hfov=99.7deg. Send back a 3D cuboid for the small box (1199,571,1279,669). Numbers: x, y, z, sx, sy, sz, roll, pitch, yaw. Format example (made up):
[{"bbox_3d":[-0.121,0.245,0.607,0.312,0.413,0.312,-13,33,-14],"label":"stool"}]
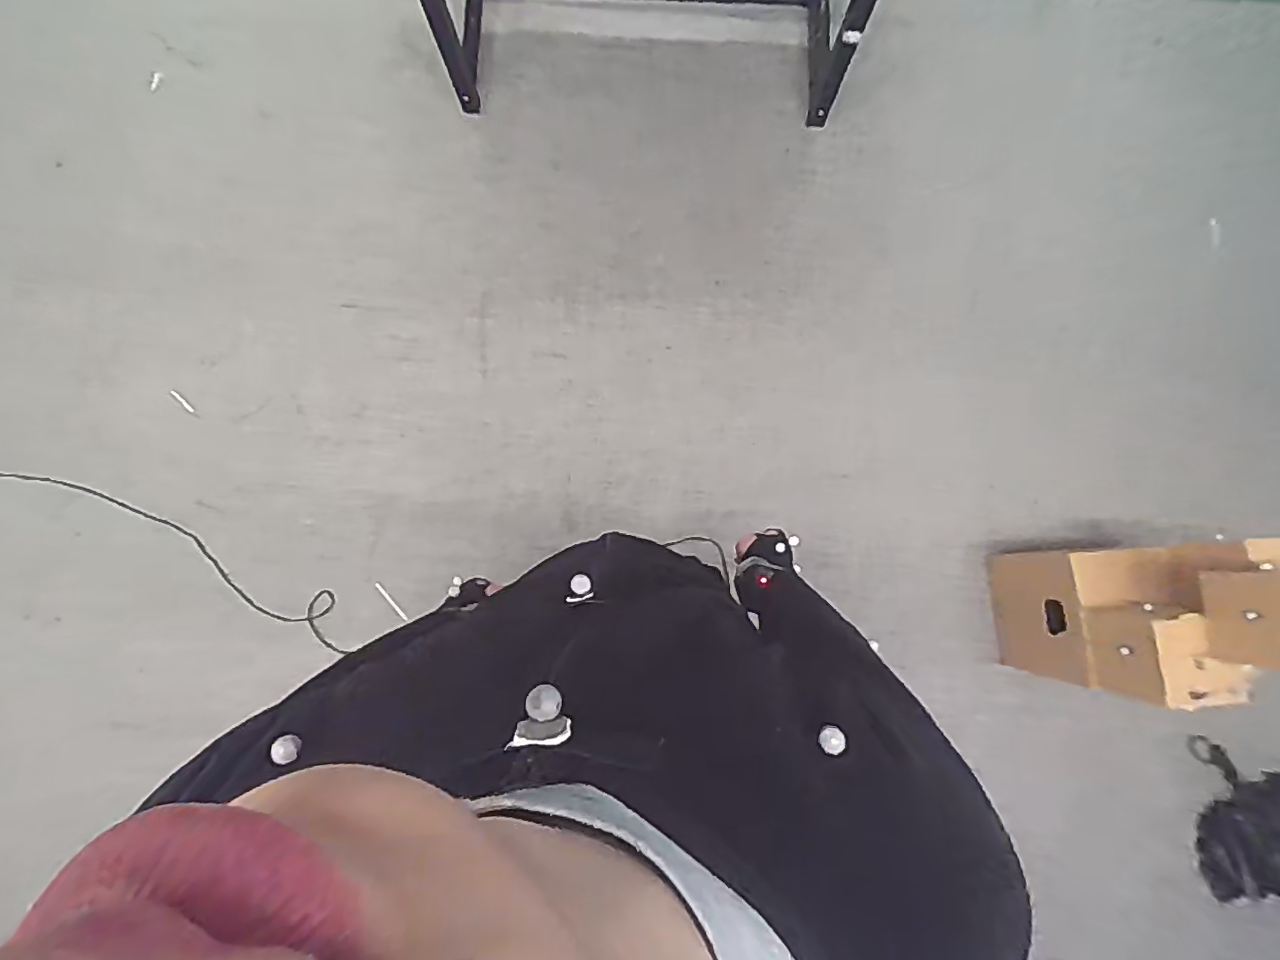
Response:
[{"bbox_3d":[1.222,0.262,1.015,0.168,0.176,0.179,1,80,-1],"label":"small box"}]

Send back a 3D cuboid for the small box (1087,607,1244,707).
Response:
[{"bbox_3d":[1.114,0.371,1.164,0.168,0.176,0.179,-5,83,-1],"label":"small box"}]
